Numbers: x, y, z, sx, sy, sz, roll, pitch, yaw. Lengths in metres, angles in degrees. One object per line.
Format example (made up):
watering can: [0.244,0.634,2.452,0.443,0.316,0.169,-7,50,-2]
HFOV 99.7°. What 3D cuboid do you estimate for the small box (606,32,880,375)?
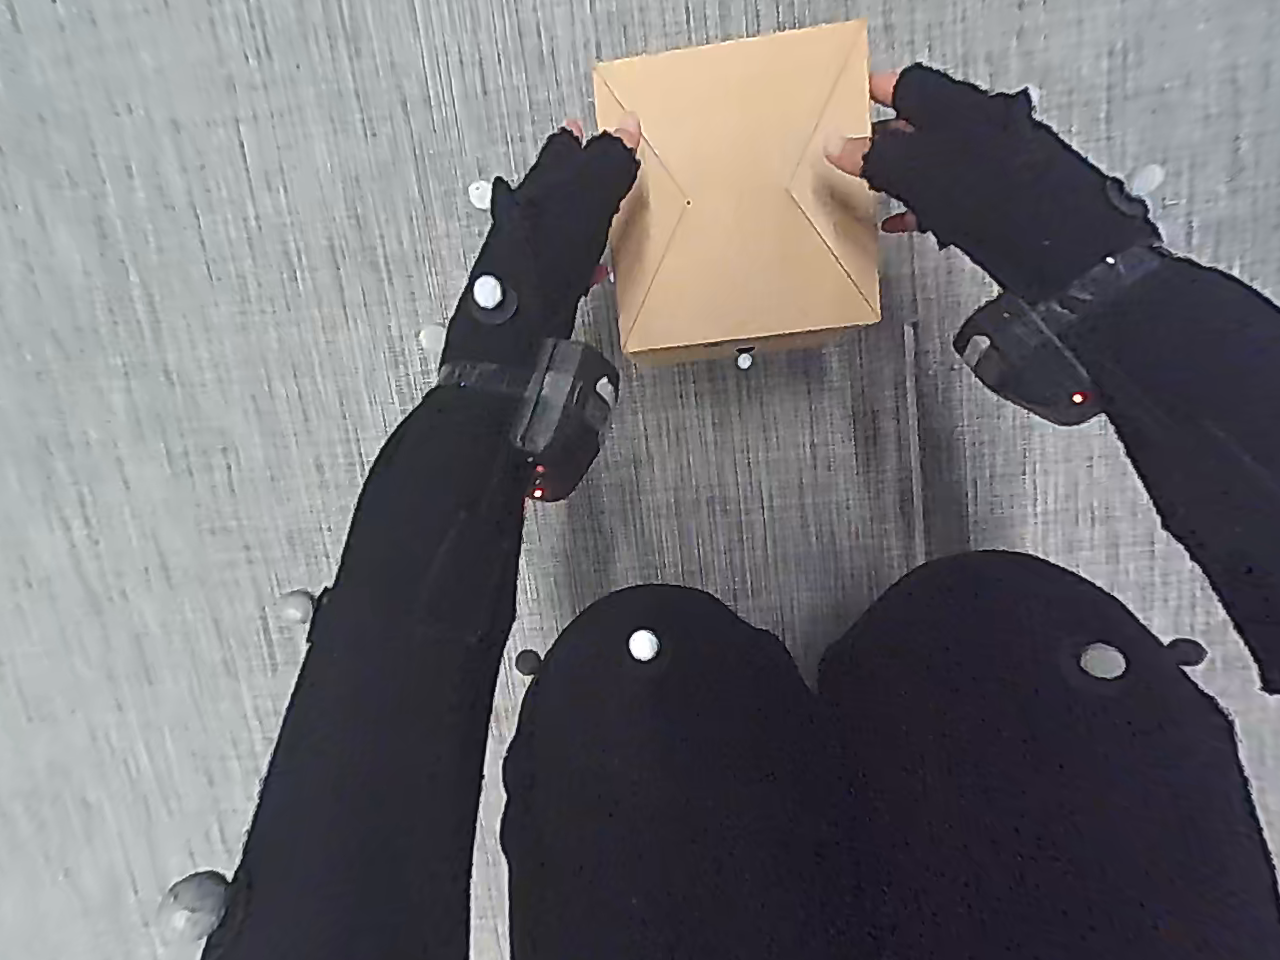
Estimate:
small box: [0.072,-0.184,0.417,0.168,0.176,0.179,-6,97,5]
